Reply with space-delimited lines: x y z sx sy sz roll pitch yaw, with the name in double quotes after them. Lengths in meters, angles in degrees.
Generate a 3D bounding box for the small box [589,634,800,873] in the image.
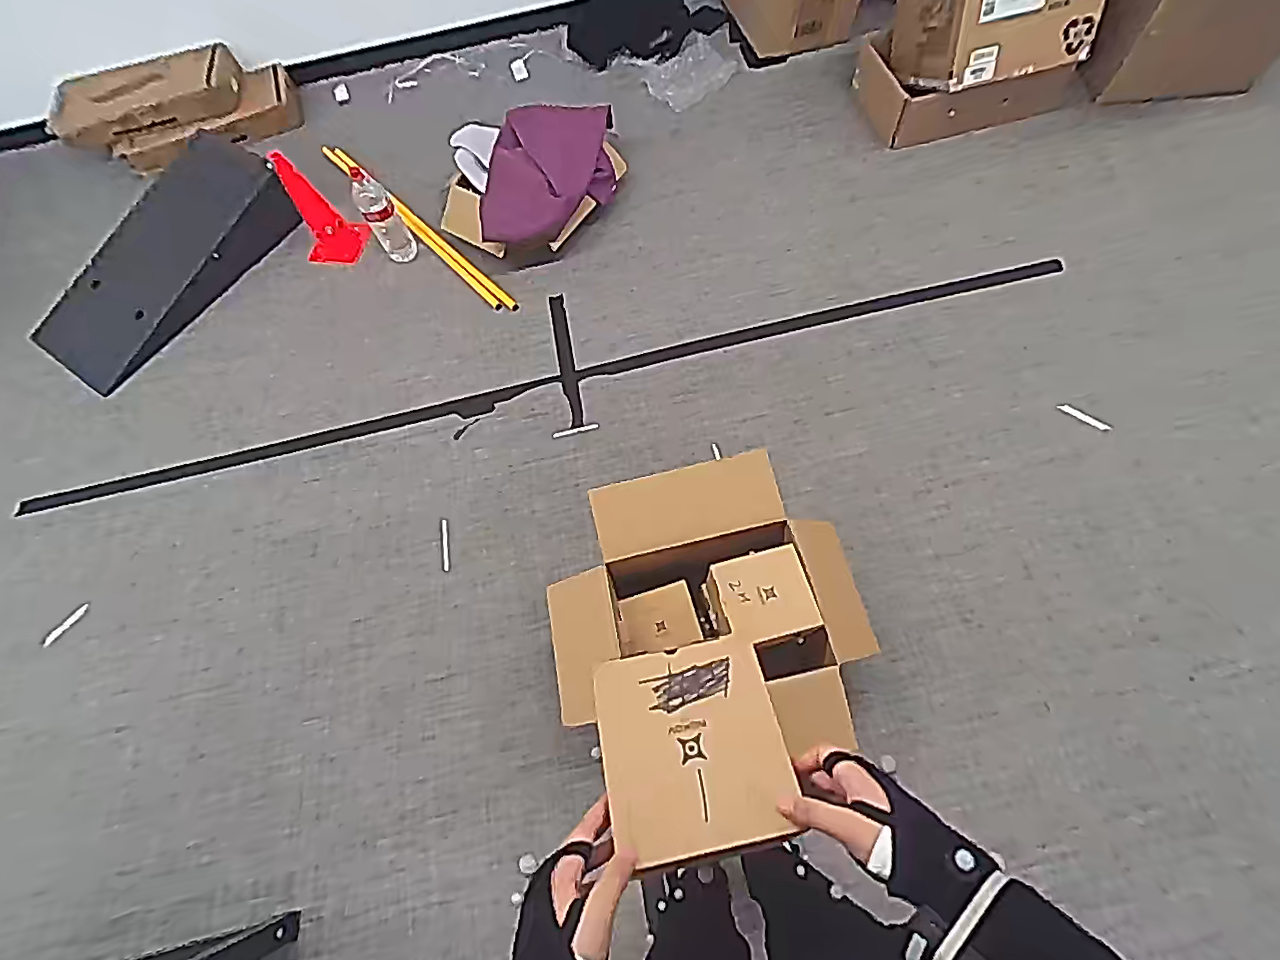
0.045 0.286 0.563 0.168 0.176 0.179 -10 53 -4 "small box"

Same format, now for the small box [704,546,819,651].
0.240 0.254 1.117 0.179 0.176 0.168 -15 66 -2 "small box"
